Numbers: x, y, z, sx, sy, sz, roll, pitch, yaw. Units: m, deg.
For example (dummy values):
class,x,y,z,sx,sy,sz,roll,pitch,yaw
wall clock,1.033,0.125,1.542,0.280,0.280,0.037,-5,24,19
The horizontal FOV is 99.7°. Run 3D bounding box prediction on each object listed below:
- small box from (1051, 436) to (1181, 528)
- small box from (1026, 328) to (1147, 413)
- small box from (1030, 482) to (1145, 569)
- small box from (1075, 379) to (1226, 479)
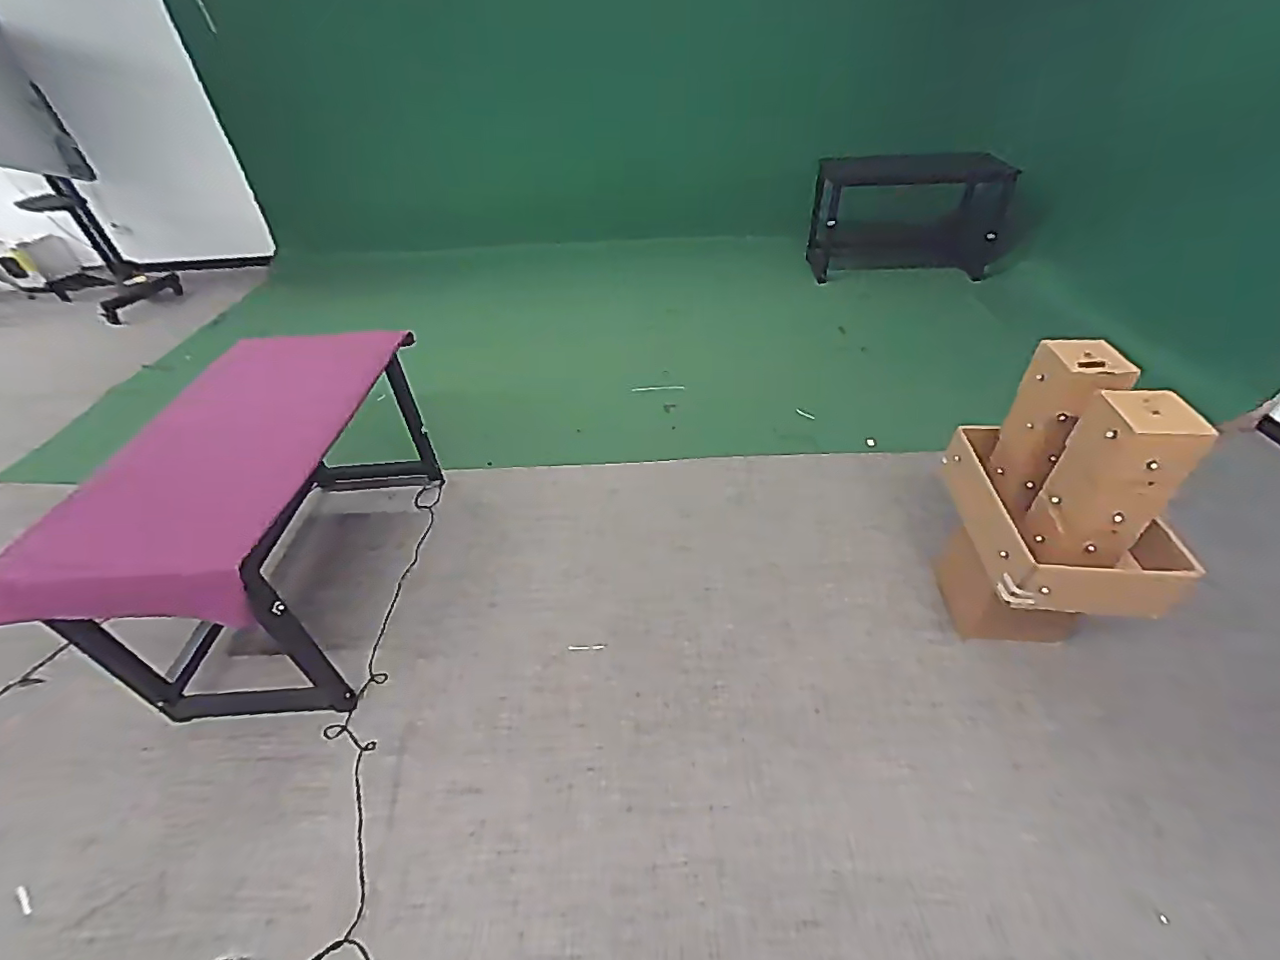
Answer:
class,x,y,z,sx,sy,sz,roll,pitch,yaw
small box,1.196,0.004,1.376,0.168,0.176,0.179,4,44,11
small box,1.192,-0.292,1.460,0.168,0.176,0.179,1,42,7
small box,1.208,0.125,1.483,0.179,0.176,0.168,4,43,11
small box,1.177,-0.118,1.265,0.168,0.176,0.179,2,43,9
